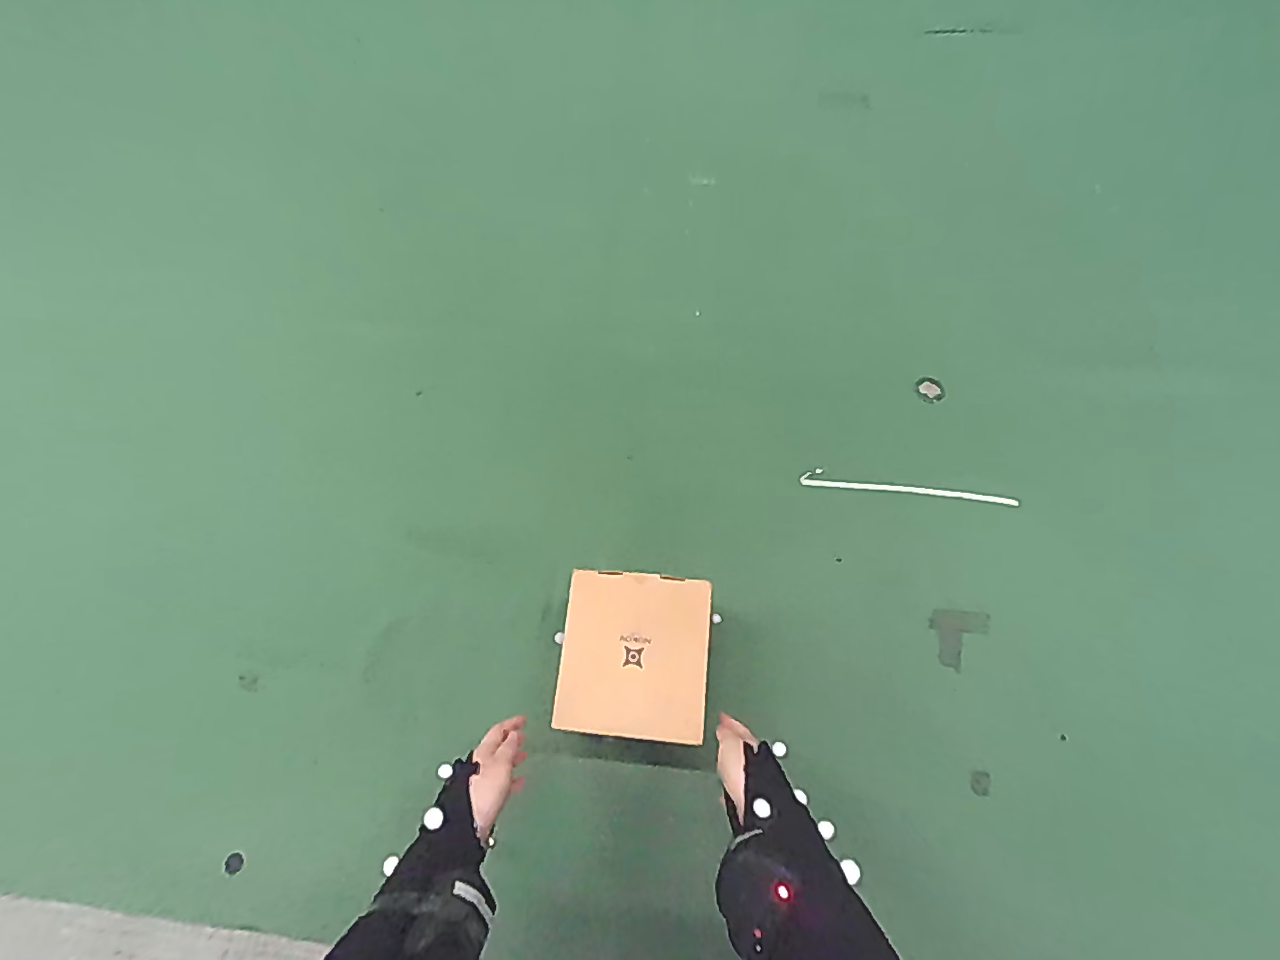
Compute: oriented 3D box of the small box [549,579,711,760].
[{"bbox_3d":[-0.002,0.230,0.668,0.168,0.176,0.179,4,69,5],"label":"small box"}]
